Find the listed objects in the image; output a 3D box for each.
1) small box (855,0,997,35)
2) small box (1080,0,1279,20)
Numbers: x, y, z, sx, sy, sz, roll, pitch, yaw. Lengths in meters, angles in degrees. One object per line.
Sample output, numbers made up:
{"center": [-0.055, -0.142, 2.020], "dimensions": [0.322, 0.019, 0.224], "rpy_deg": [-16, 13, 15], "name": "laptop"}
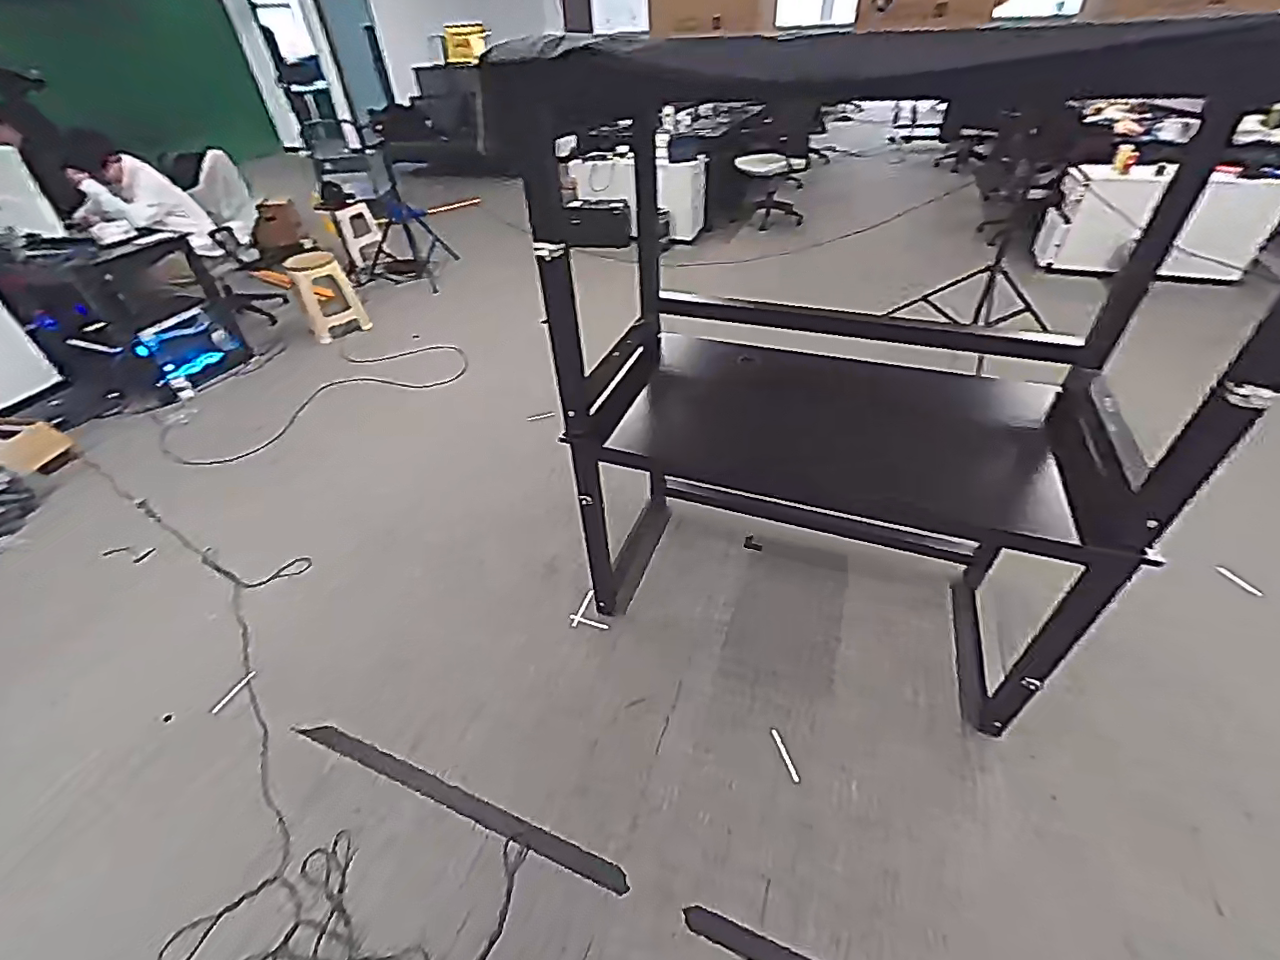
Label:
{"center": [0.382, -0.688, 0.695], "dimensions": [0.168, 0.176, 0.179], "rpy_deg": [13, 41, 18], "name": "small box"}
{"center": [0.637, -0.633, 0.609], "dimensions": [0.168, 0.176, 0.179], "rpy_deg": [12, 42, 20], "name": "small box"}
